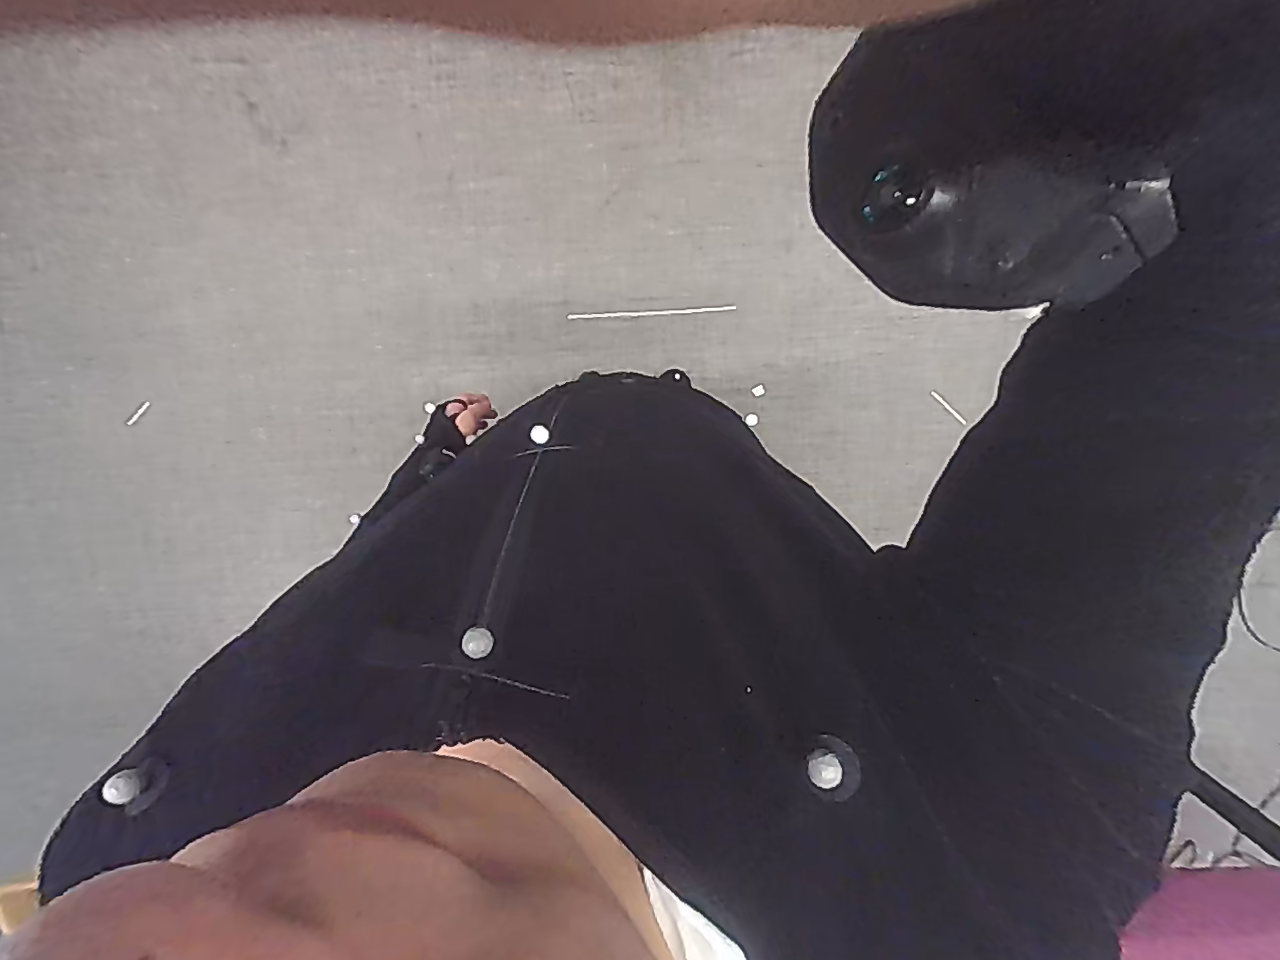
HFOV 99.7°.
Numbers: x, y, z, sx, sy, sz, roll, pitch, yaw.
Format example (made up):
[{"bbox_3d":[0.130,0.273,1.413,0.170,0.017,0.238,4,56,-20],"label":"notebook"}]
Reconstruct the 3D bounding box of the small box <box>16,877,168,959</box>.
[{"bbox_3d":[-1.318,1.110,1.313,0.179,0.176,0.168,-7,101,1],"label":"small box"}]
